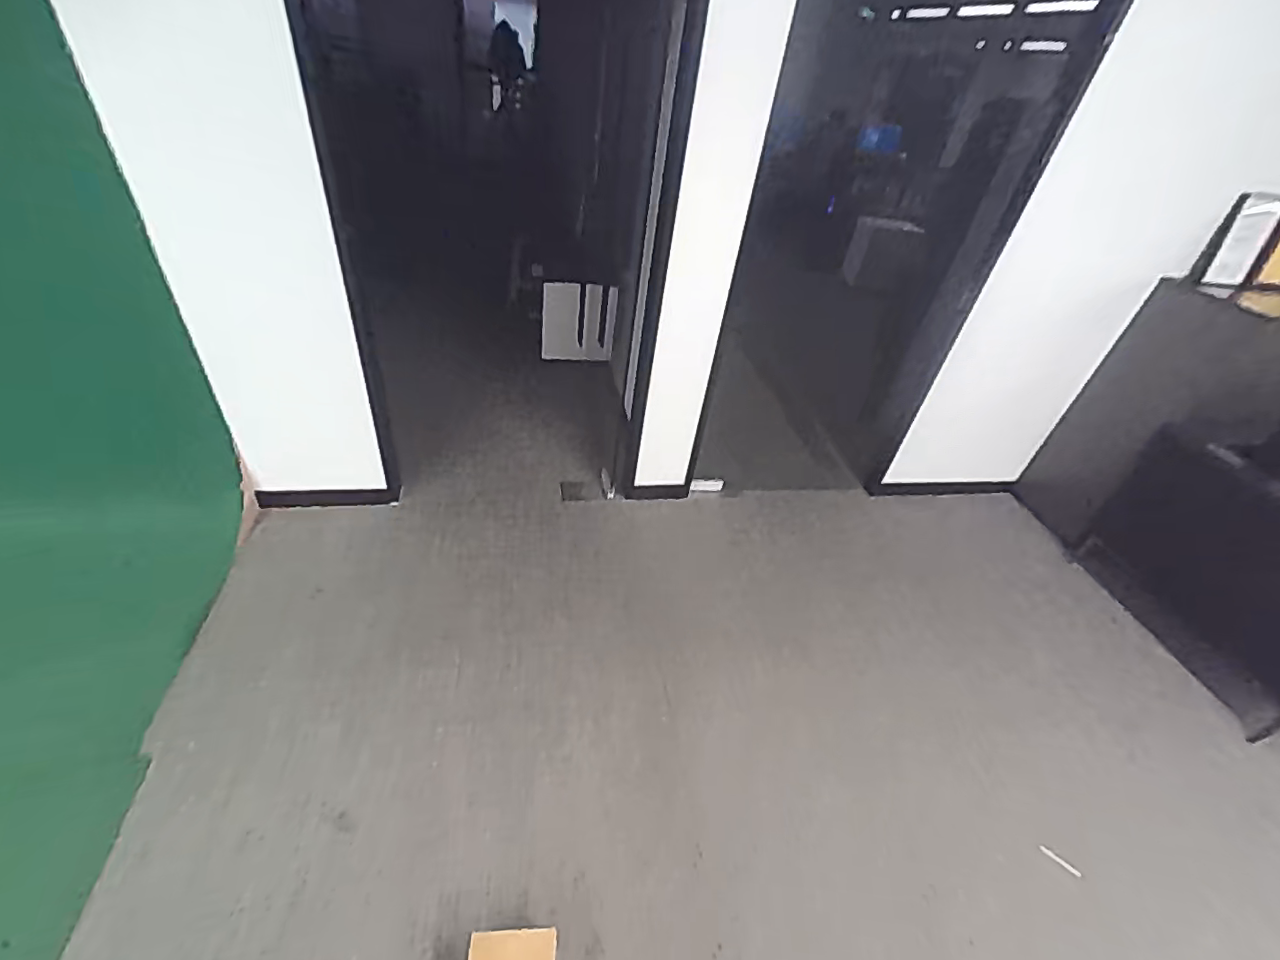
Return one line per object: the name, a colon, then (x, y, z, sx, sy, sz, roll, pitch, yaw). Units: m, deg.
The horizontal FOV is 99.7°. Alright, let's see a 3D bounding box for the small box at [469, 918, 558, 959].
small box: (-0.252, 0.985, 1.050, 0.168, 0.176, 0.179, 4, 40, -8)
